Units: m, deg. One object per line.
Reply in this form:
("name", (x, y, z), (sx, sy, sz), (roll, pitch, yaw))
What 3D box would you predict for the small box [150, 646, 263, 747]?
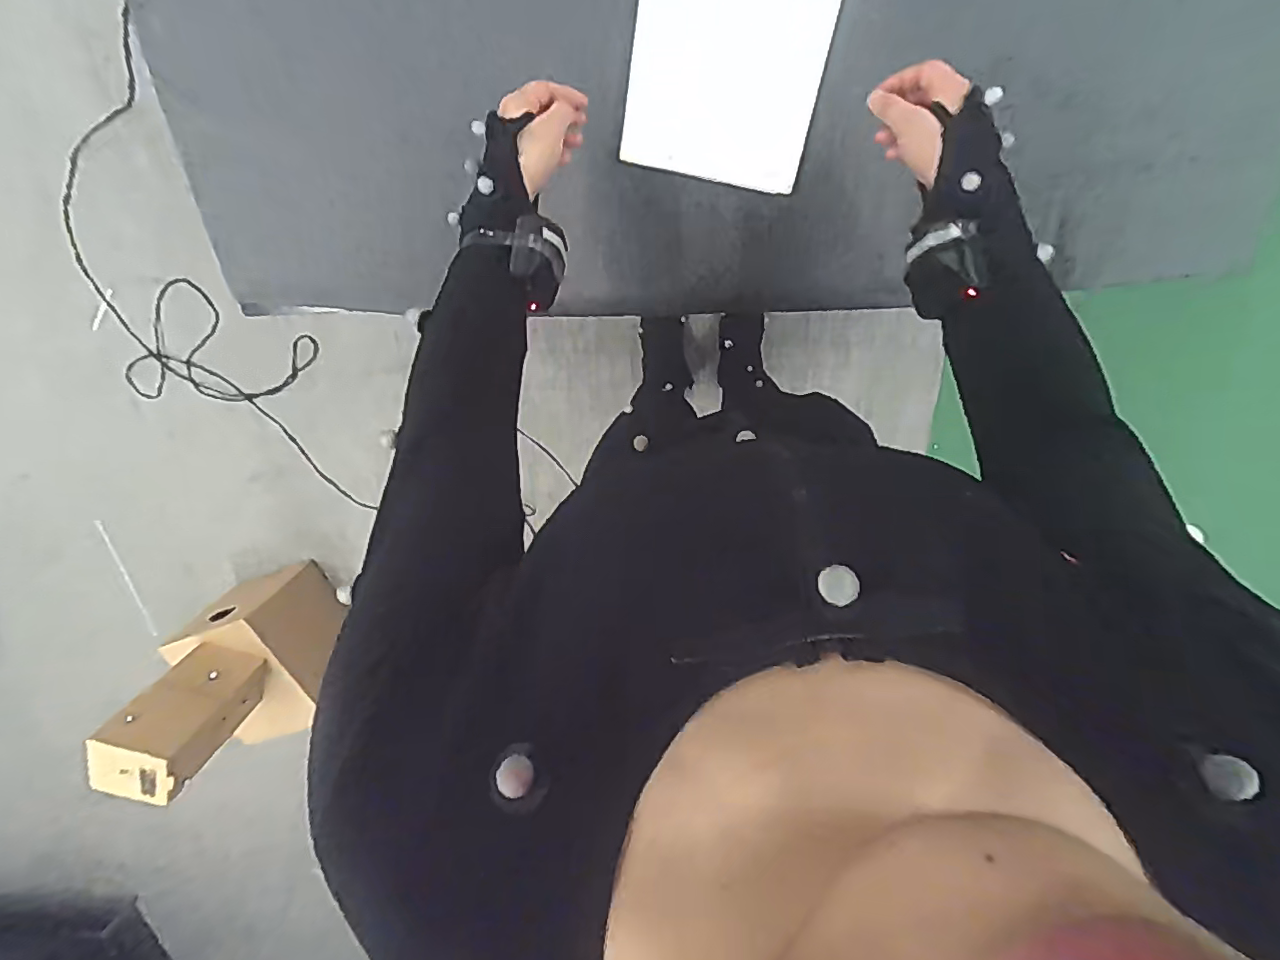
("small box", (-1.144, 0.569, 1.438), (0.179, 0.176, 0.168), (18, 112, -7))
